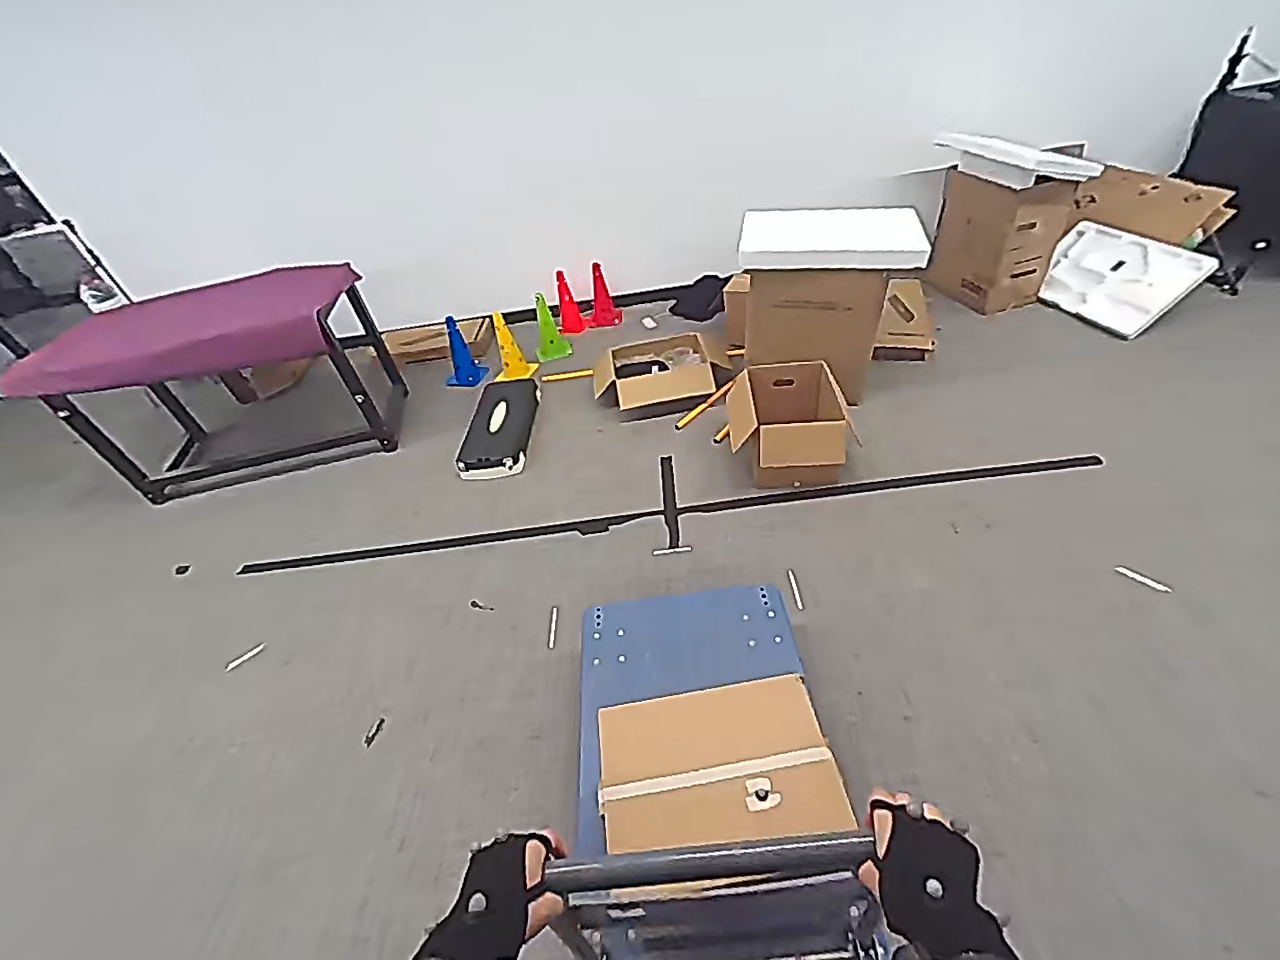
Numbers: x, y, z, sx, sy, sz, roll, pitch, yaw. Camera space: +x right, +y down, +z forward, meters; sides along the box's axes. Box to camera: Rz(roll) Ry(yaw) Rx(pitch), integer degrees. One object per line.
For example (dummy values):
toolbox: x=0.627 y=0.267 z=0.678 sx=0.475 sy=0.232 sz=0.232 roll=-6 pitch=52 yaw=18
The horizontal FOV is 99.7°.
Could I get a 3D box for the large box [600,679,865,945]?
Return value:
large box: x=0.153 y=0.637 z=1.043 sx=0.408 sy=0.320 sz=0.320 roll=-10 pitch=42 yaw=-2
